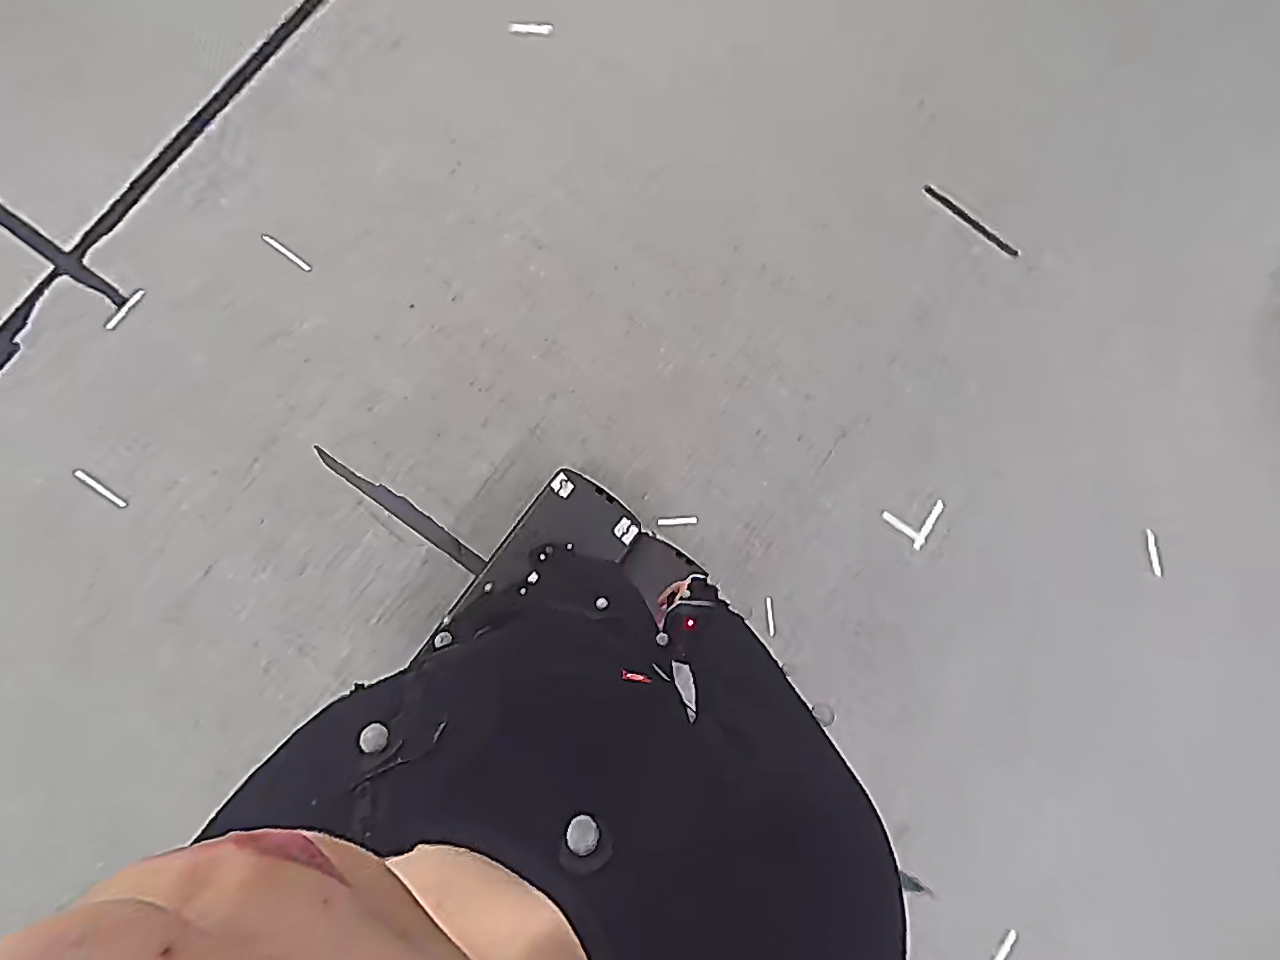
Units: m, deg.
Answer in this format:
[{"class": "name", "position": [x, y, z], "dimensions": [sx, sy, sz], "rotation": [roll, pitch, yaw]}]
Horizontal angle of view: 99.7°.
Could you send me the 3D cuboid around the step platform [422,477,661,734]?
[{"class": "step platform", "position": [-0.250, 0.317, 1.448], "dimensions": [0.286, 0.204, 0.684], "rotation": [41, 81, -1]}]
